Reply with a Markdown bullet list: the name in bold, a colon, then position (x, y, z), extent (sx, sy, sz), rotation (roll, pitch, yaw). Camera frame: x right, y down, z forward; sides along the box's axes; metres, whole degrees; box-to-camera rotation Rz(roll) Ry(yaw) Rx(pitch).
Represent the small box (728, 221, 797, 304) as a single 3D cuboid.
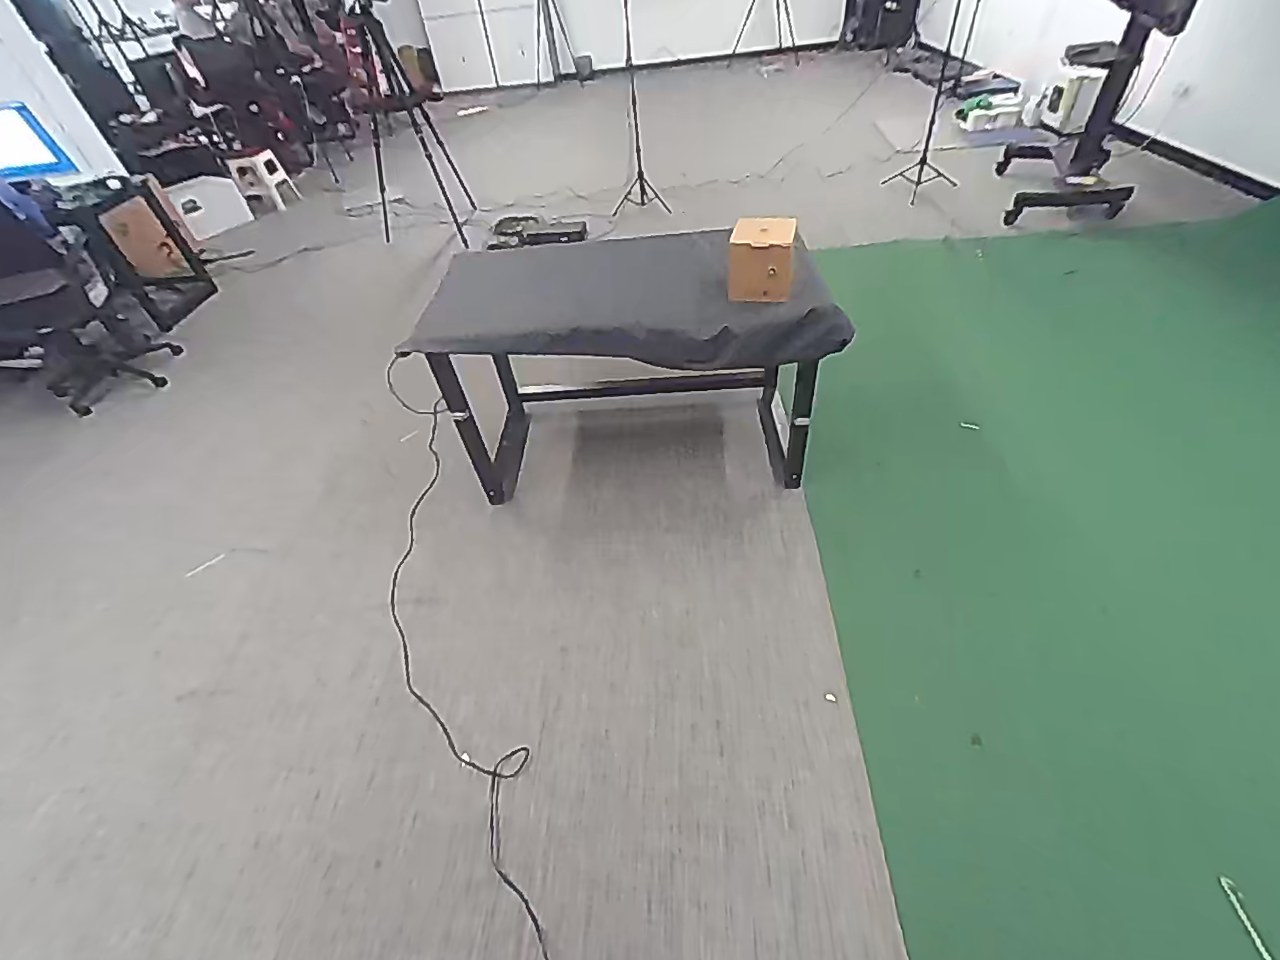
- **small box**: position (0.344, -0.612, 1.524), extent (0.168, 0.176, 0.179), rotation (7, 45, 14)
